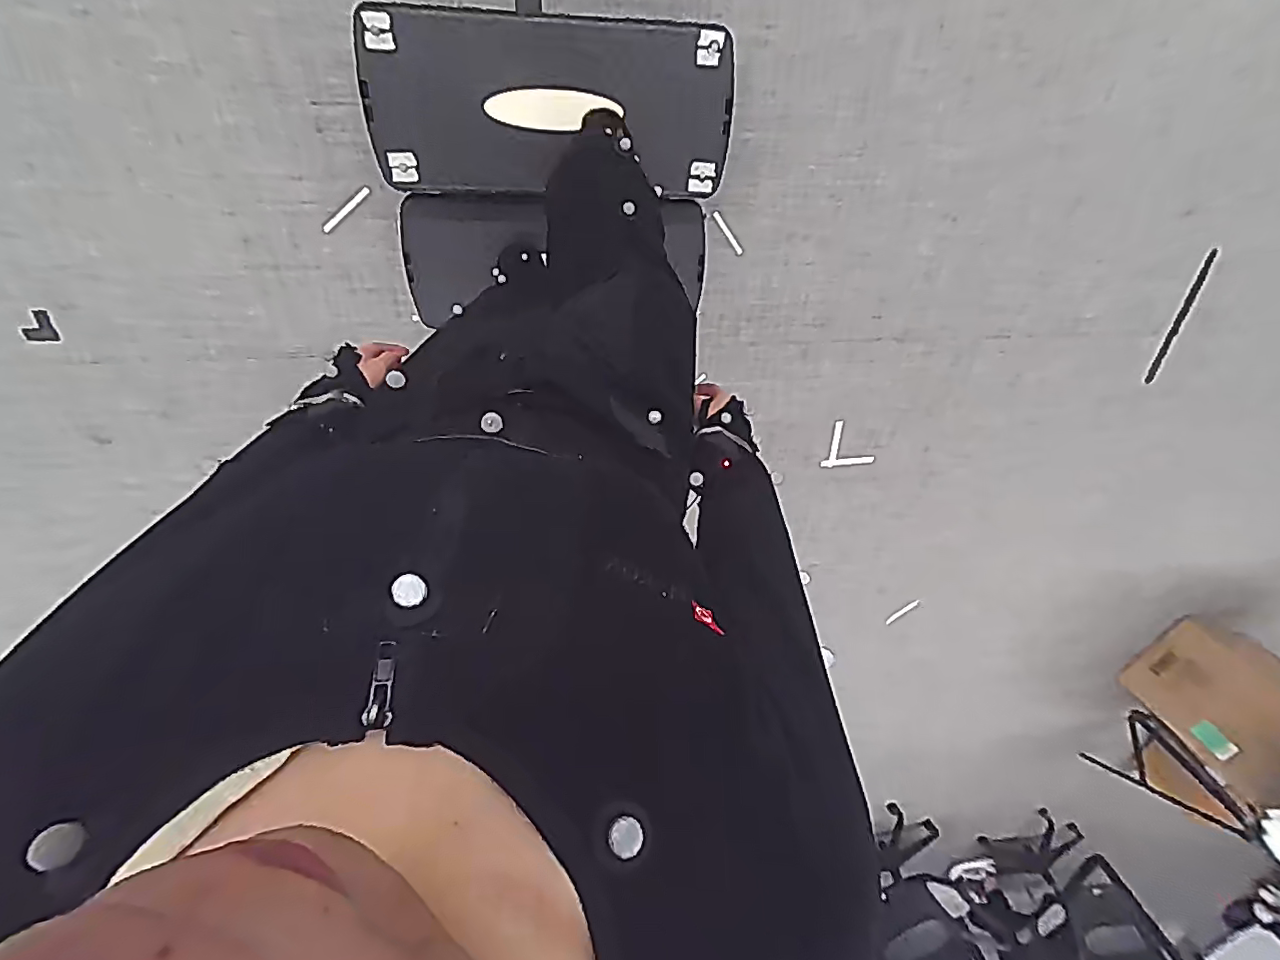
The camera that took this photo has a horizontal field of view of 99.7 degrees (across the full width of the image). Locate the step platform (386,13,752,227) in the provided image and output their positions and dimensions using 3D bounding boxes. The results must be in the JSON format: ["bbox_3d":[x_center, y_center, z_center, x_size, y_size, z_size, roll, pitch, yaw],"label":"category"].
[{"bbox_3d":[-0.129,-0.691,1.076,0.684,0.204,0.286,1,120,-10],"label":"step platform"}]
